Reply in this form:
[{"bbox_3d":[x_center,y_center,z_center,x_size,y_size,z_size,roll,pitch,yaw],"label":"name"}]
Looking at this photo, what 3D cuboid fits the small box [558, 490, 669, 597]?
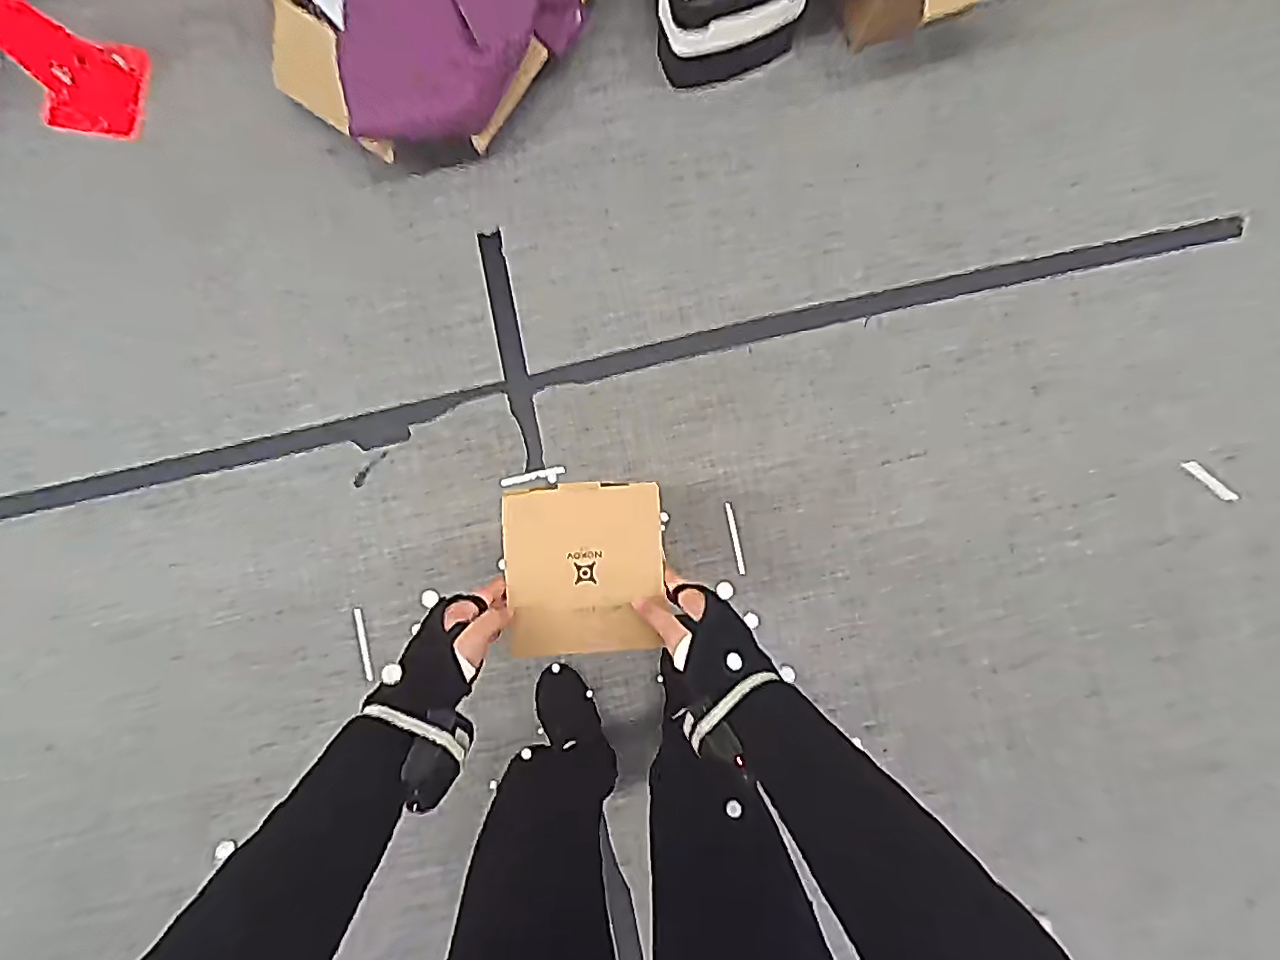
[{"bbox_3d":[-0.050,0.116,1.059,0.179,0.176,0.168,-13,88,-1],"label":"small box"}]
